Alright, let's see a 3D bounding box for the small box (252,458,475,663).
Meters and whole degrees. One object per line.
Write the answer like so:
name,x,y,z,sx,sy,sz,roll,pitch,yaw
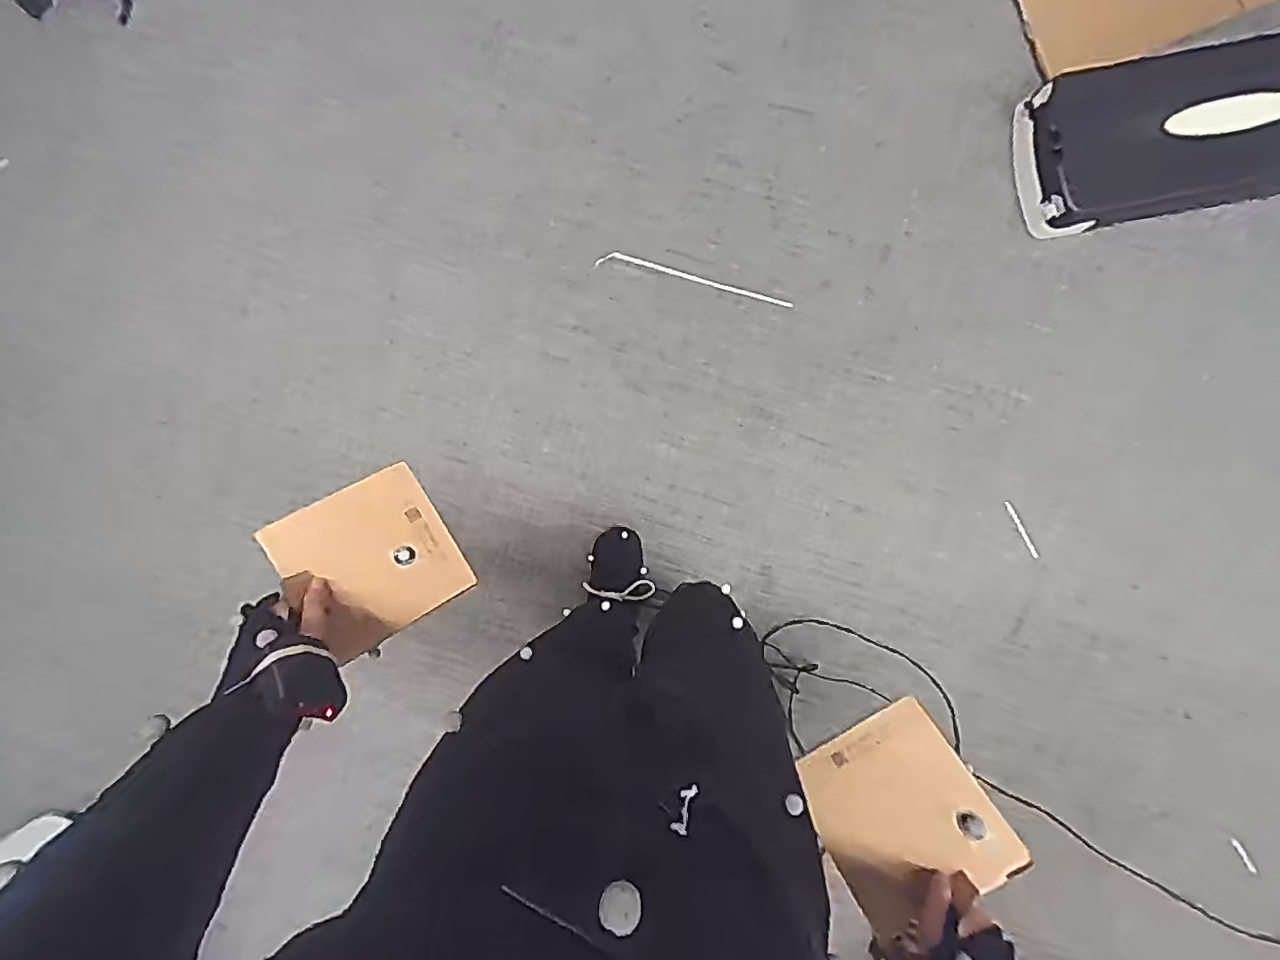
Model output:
small box,-0.316,0.090,0.658,0.176,0.179,0.168,-30,94,-20
